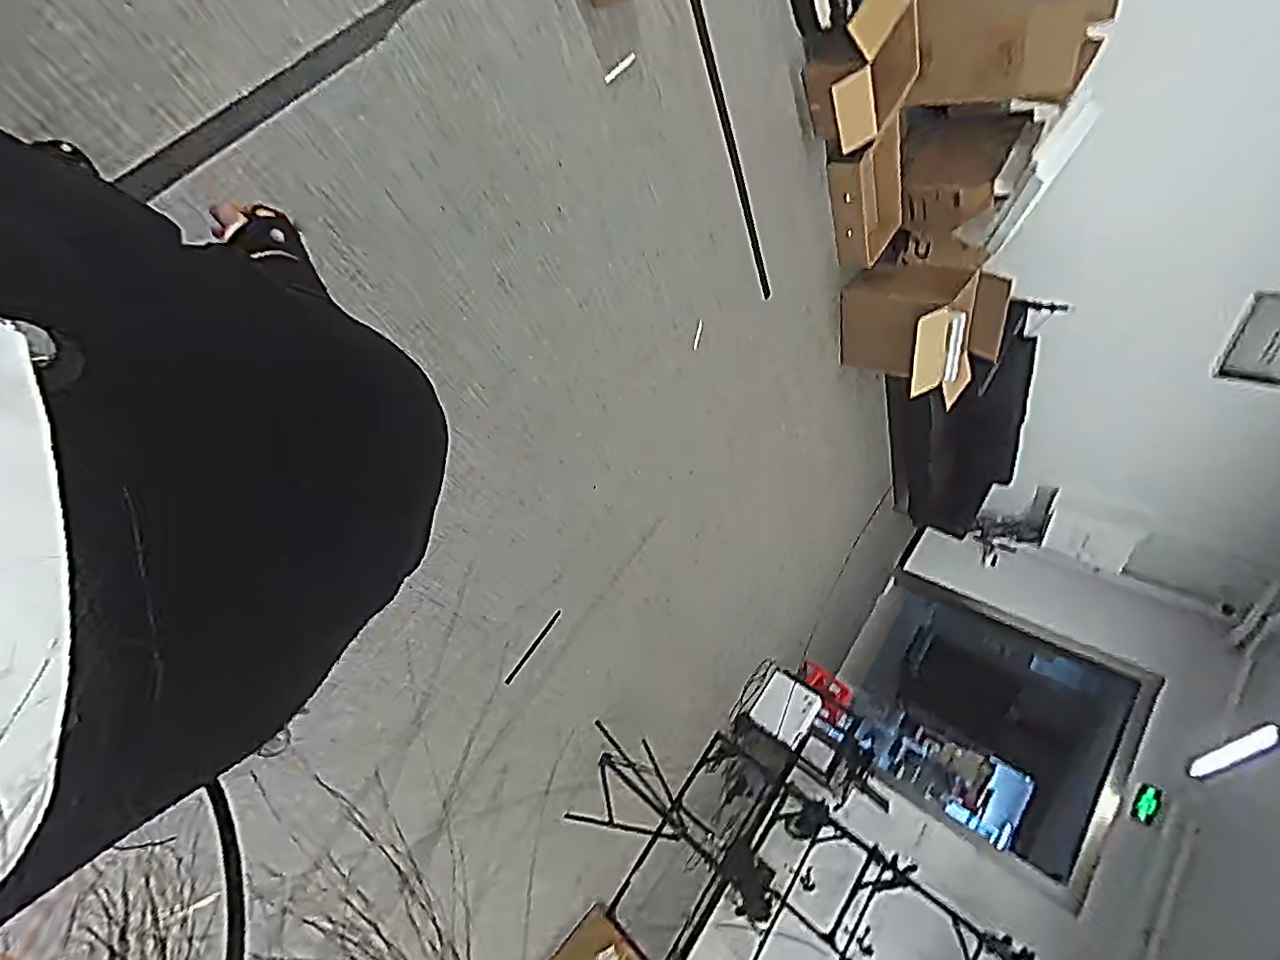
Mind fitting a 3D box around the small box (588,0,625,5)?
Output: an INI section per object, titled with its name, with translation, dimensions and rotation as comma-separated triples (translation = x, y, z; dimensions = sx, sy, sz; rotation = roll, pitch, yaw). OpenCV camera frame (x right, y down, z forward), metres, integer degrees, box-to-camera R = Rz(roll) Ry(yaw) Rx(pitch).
[small box]
translation = -0.075, -1.445, 1.478
dimensions = 0.168, 0.176, 0.179
rotation = -53, 141, -16
